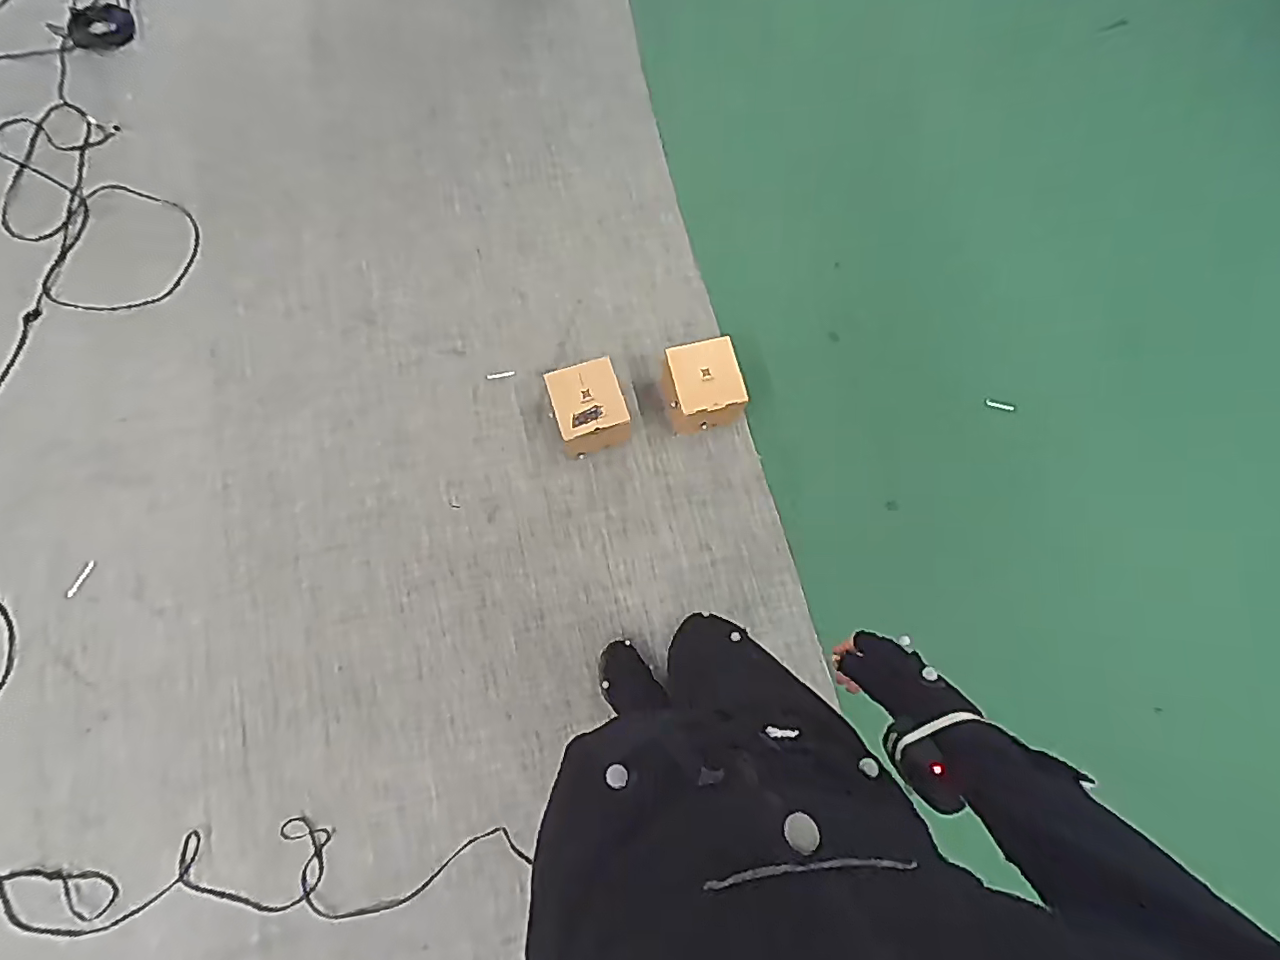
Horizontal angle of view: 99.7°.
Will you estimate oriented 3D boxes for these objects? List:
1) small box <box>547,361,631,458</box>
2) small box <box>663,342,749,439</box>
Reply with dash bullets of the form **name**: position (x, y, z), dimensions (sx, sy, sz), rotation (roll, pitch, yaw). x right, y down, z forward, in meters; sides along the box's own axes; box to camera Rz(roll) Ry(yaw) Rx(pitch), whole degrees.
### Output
- **small box**: position (-0.124, -0.166, 1.356), dimensions (0.168, 0.176, 0.179), rotation (-17, 76, -7)
- **small box**: position (0.161, -0.225, 1.386), dimensions (0.168, 0.176, 0.179), rotation (-13, 77, -5)
